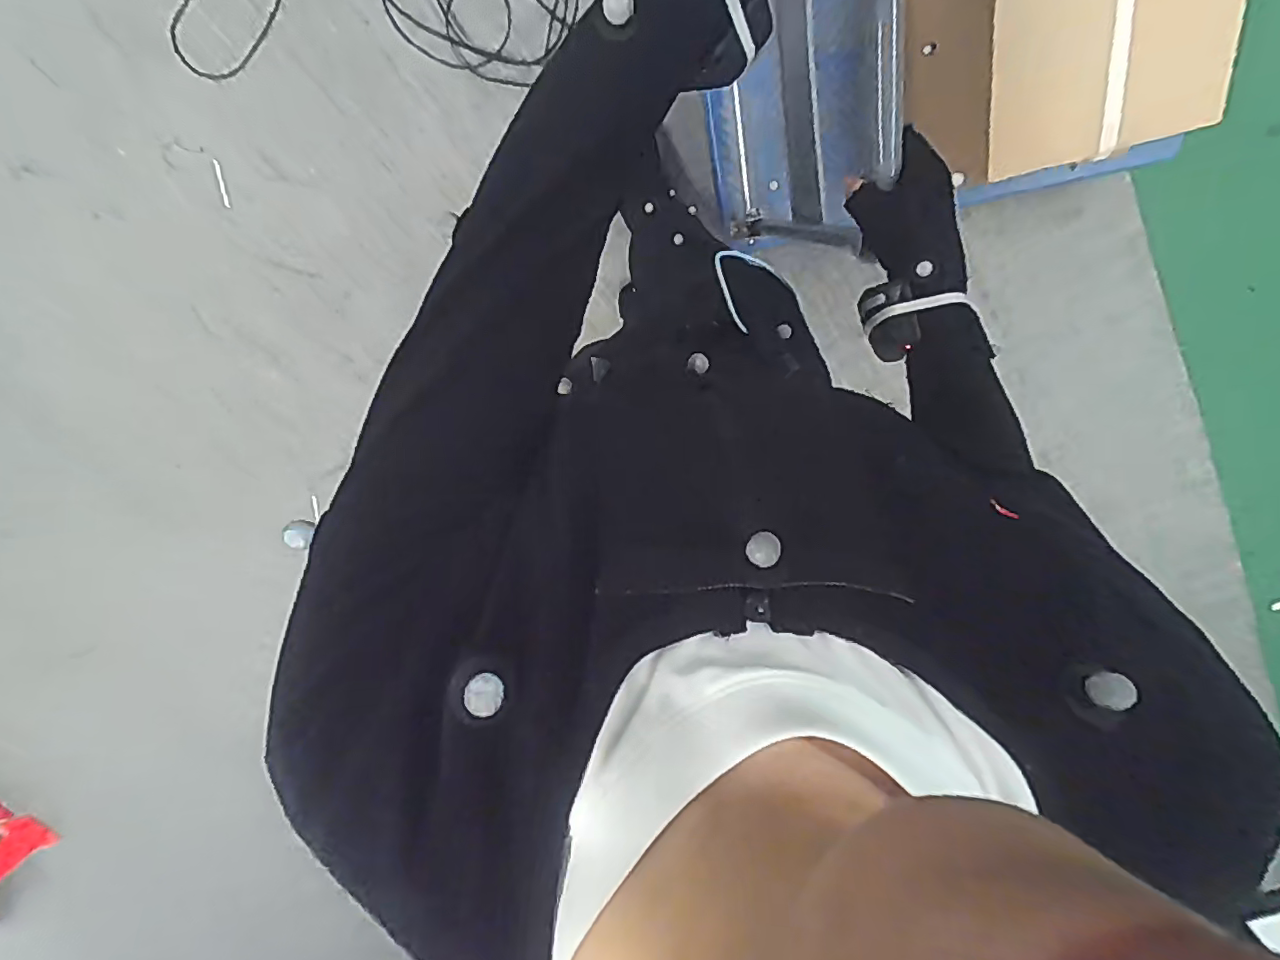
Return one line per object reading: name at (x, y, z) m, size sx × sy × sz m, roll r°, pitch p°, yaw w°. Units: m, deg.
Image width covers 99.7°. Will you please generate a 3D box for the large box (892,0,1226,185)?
large box at (0.603, -0.718, 0.828) m, size 0.320 × 0.320 × 0.408 m, roll -12°, pitch 116°, yaw 6°
